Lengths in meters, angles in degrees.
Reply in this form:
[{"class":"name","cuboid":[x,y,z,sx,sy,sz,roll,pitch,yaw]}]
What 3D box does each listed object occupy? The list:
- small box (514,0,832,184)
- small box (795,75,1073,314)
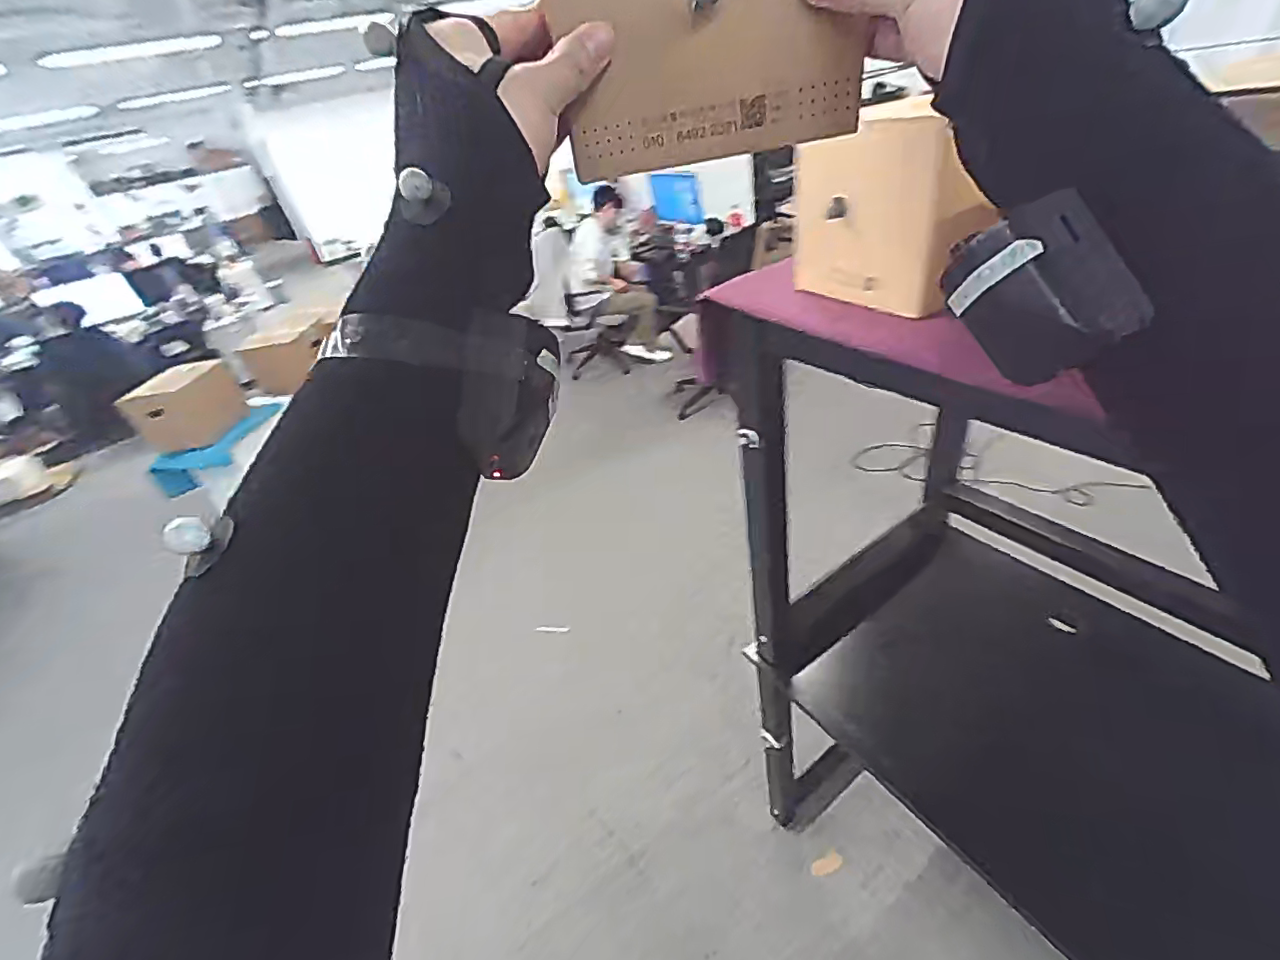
[{"class":"small box","cuboid":[0.015,-0.297,0.333,0.168,0.176,0.179,-9,37,4]},{"class":"small box","cuboid":[0.281,-0.282,0.547,0.179,0.176,0.168,-25,37,-19]}]
